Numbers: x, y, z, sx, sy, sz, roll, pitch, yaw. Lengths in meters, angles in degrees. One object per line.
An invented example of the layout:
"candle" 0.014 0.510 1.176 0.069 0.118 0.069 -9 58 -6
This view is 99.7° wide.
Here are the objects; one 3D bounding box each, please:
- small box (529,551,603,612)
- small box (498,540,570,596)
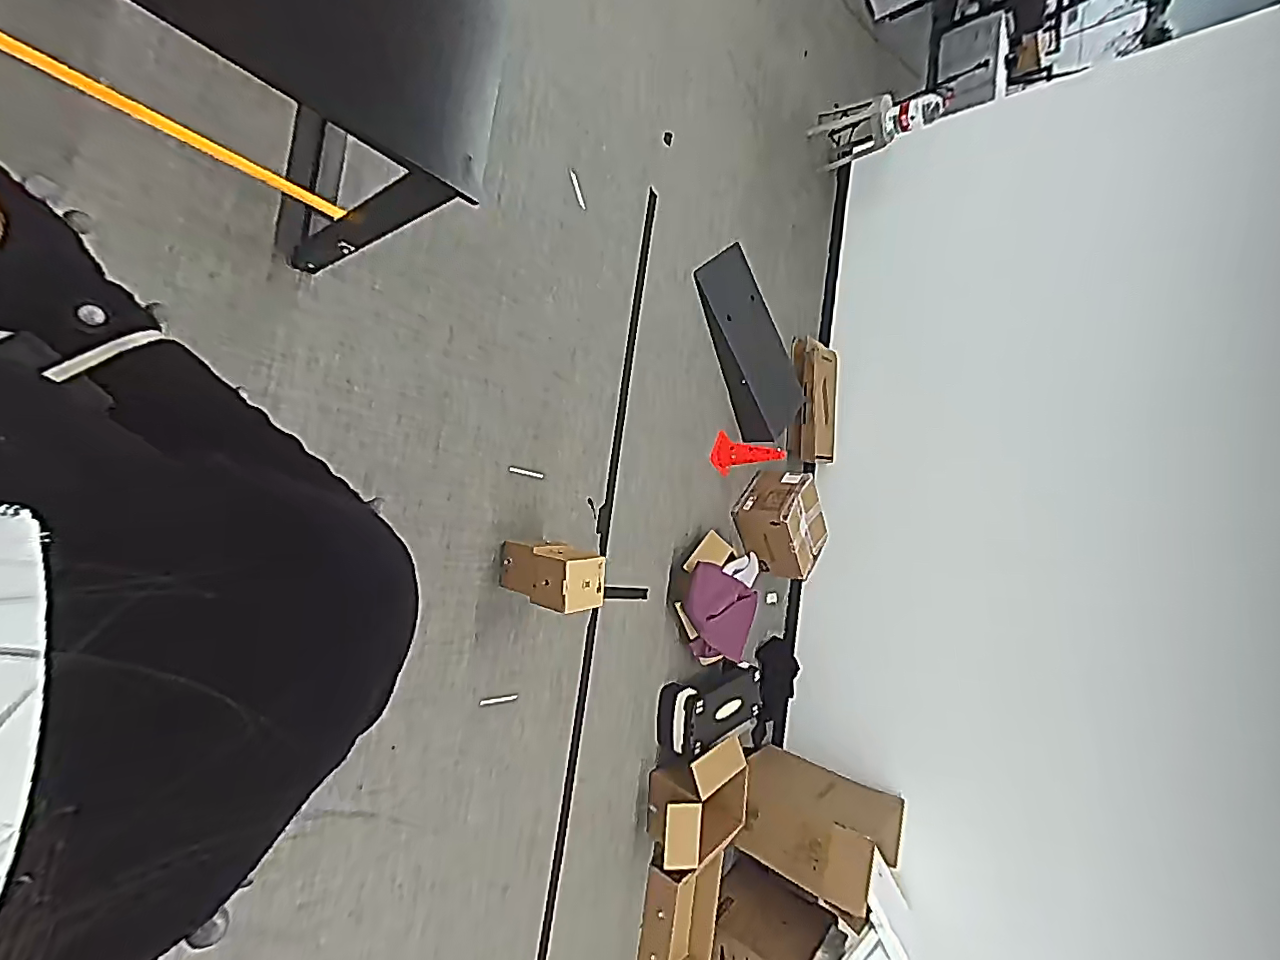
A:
"small box" -0.243 0.325 1.763 0.179 0.176 0.168 4 90 -50
"small box" -0.366 0.299 1.870 0.179 0.176 0.168 5 89 -49
